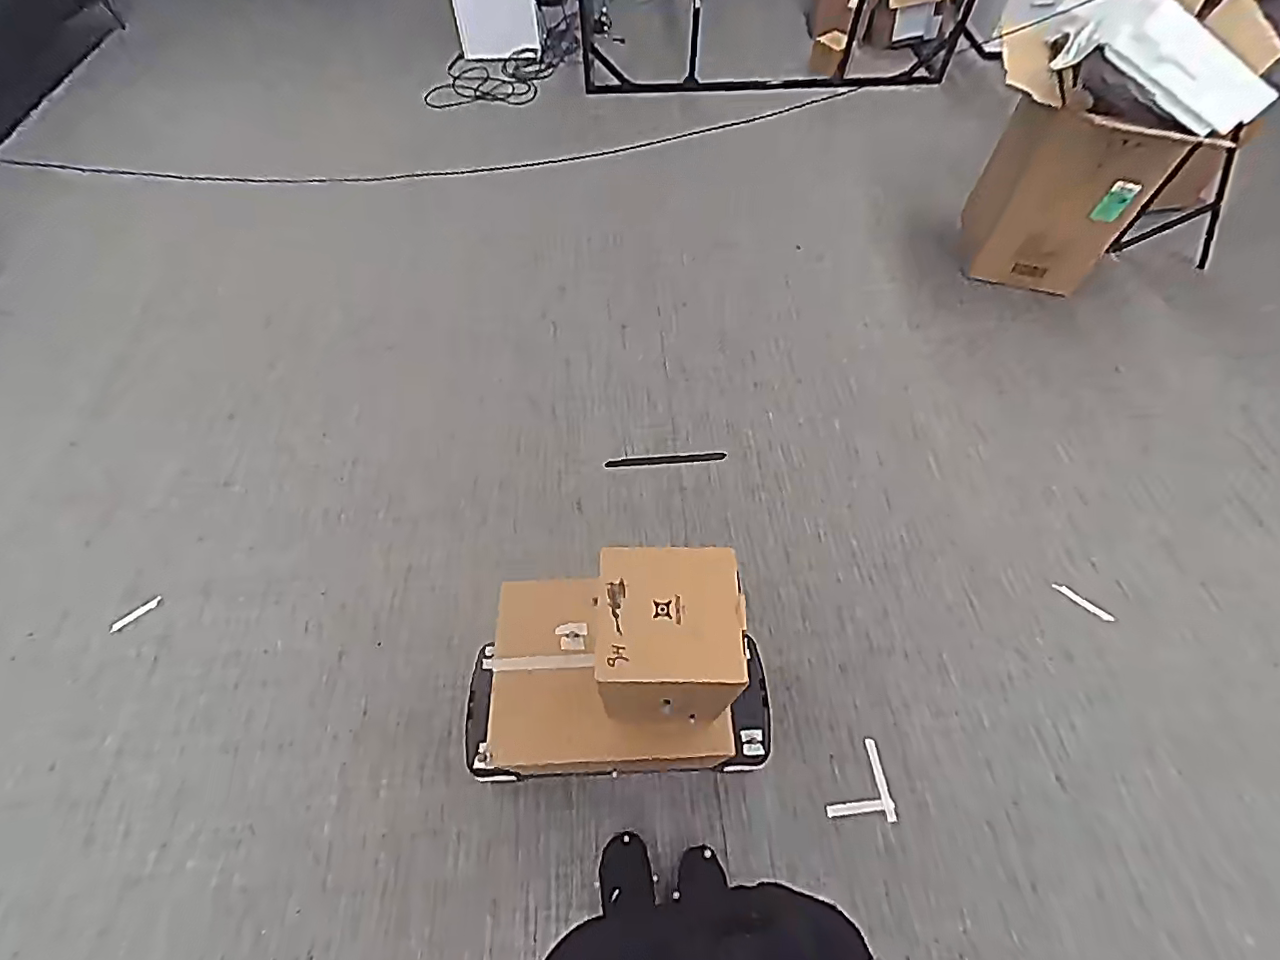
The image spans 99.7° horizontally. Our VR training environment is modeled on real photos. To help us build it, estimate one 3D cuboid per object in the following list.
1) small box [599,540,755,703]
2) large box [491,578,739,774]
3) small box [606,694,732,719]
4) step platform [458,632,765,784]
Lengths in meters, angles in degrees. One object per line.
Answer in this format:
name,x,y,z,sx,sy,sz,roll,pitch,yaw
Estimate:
small box,0.041,0.189,0.705,0.179,0.176,0.168,1,58,0
large box,-0.043,0.389,1.063,0.408,0.320,0.320,-3,58,0
small box,0.042,0.273,0.846,0.179,0.176,0.168,1,59,1
step platform,-0.059,0.526,1.257,0.684,0.204,0.286,2,59,2
